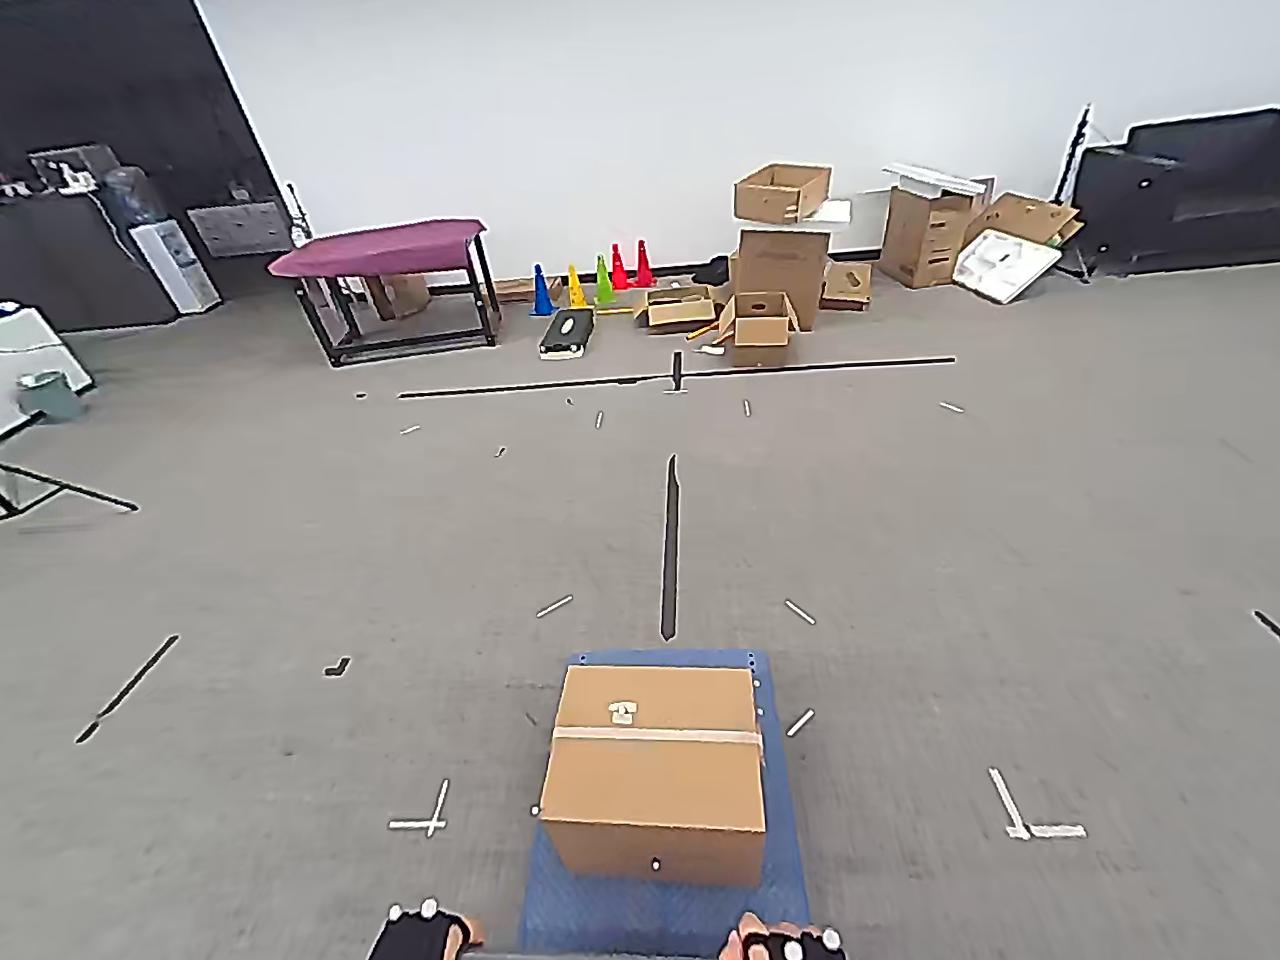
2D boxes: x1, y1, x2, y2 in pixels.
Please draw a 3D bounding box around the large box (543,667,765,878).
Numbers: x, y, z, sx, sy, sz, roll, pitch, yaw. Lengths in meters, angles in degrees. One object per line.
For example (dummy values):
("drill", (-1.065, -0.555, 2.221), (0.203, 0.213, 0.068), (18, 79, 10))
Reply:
("large box", (0.047, 0.627, 1.168), (0.408, 0.320, 0.320), (-2, 37, 7))
